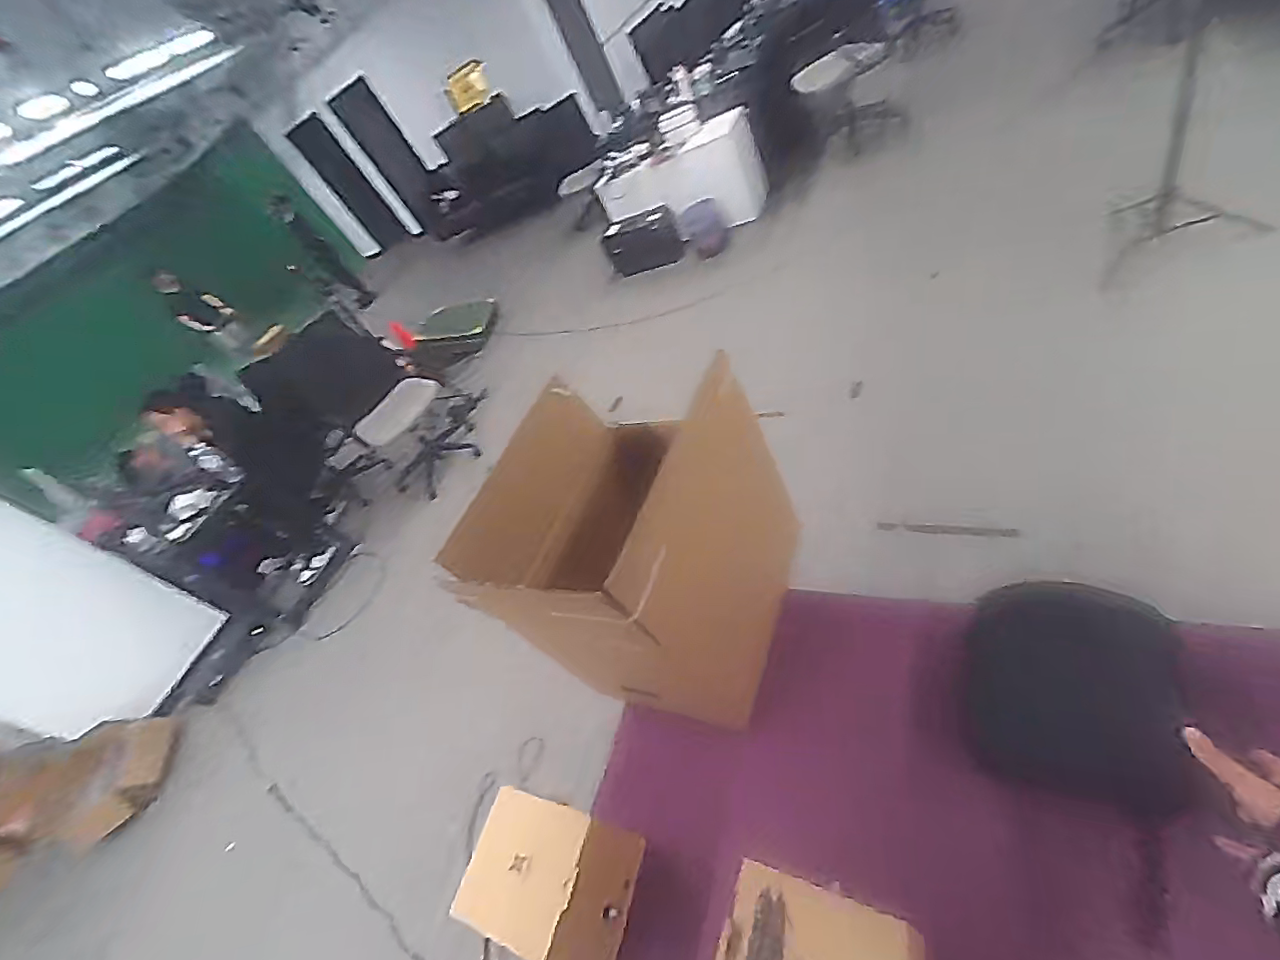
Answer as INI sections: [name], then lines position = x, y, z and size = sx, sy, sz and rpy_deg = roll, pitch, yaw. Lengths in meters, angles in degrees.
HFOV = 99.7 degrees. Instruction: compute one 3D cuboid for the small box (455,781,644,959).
[small box]
position = -0.122, 0.569, 0.788
size = 0.179, 0.176, 0.168
rpy_deg = -2, 50, 32
